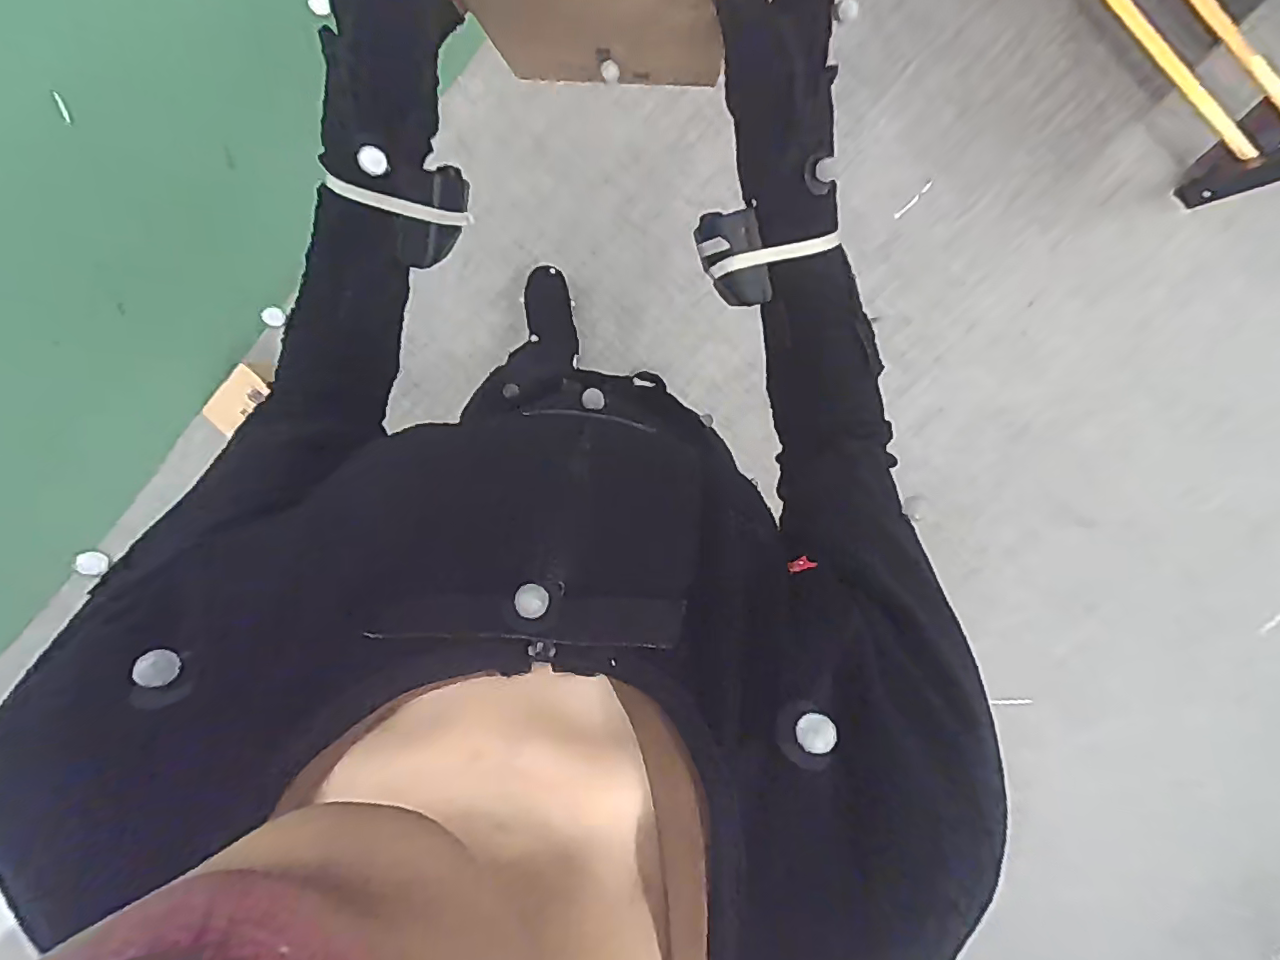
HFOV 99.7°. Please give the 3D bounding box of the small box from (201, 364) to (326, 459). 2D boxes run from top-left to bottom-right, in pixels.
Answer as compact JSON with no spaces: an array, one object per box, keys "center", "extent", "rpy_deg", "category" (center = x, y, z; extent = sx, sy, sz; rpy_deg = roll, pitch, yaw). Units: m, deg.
[{"center":[-0.951,-0.181,1.390],"extent":[0.179,0.176,0.168],"rpy_deg":[-44,96,10],"category":"small box"}]
